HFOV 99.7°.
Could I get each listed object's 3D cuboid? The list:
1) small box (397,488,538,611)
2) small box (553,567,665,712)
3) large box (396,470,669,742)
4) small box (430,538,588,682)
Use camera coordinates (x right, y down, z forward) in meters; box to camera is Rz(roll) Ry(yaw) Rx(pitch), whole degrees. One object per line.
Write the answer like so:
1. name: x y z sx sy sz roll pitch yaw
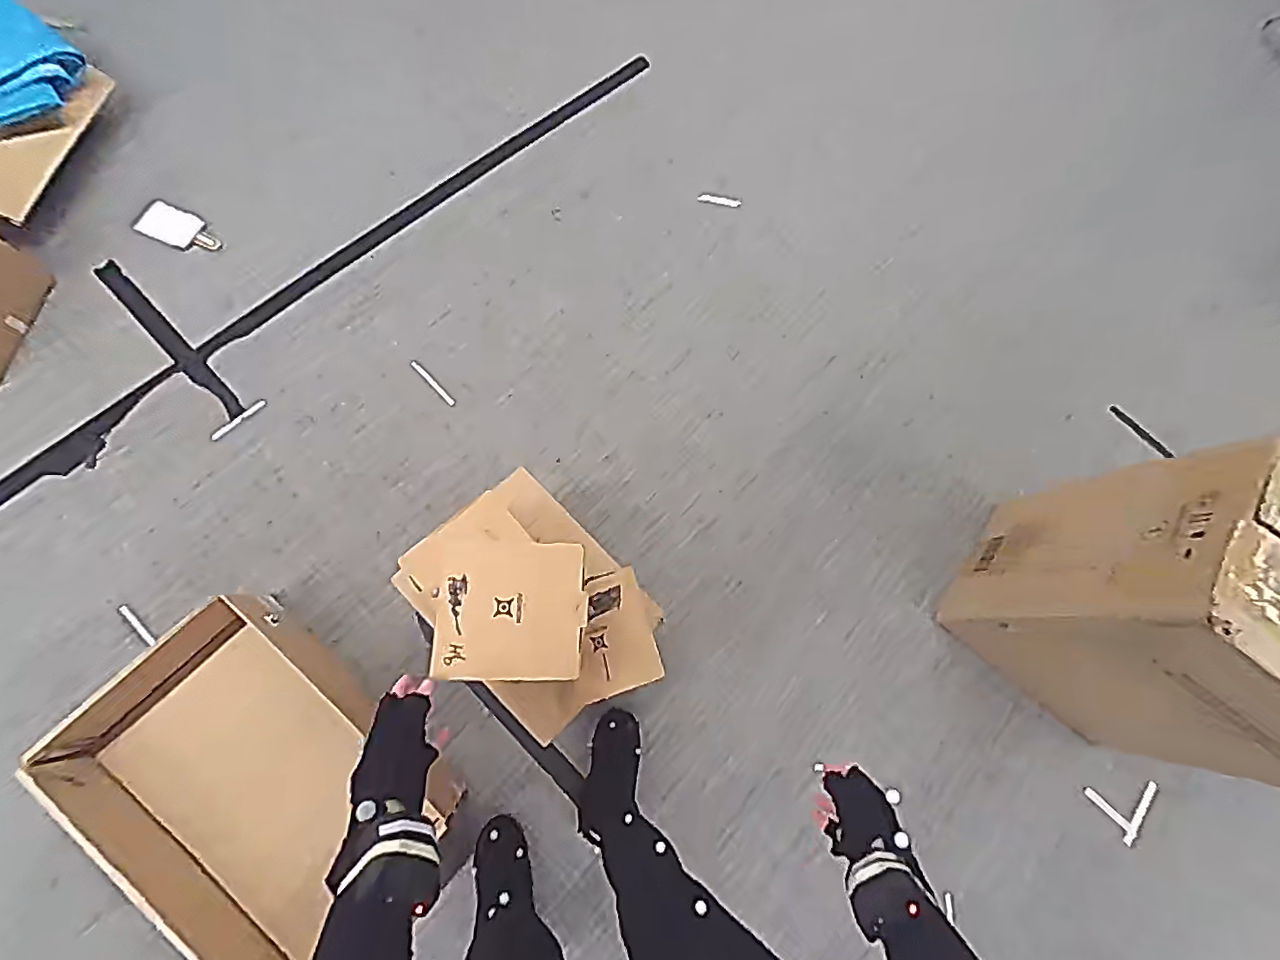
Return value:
1. small box: -0.257 0.144 0.891 0.179 0.176 0.168 -41 87 -17
2. small box: -0.074 0.256 0.887 0.168 0.176 0.179 -15 79 -12
3. large box: -0.212 0.250 1.123 0.408 0.320 0.320 45 75 4
4. small box: -0.164 0.174 0.725 0.179 0.176 0.168 3 75 -7
